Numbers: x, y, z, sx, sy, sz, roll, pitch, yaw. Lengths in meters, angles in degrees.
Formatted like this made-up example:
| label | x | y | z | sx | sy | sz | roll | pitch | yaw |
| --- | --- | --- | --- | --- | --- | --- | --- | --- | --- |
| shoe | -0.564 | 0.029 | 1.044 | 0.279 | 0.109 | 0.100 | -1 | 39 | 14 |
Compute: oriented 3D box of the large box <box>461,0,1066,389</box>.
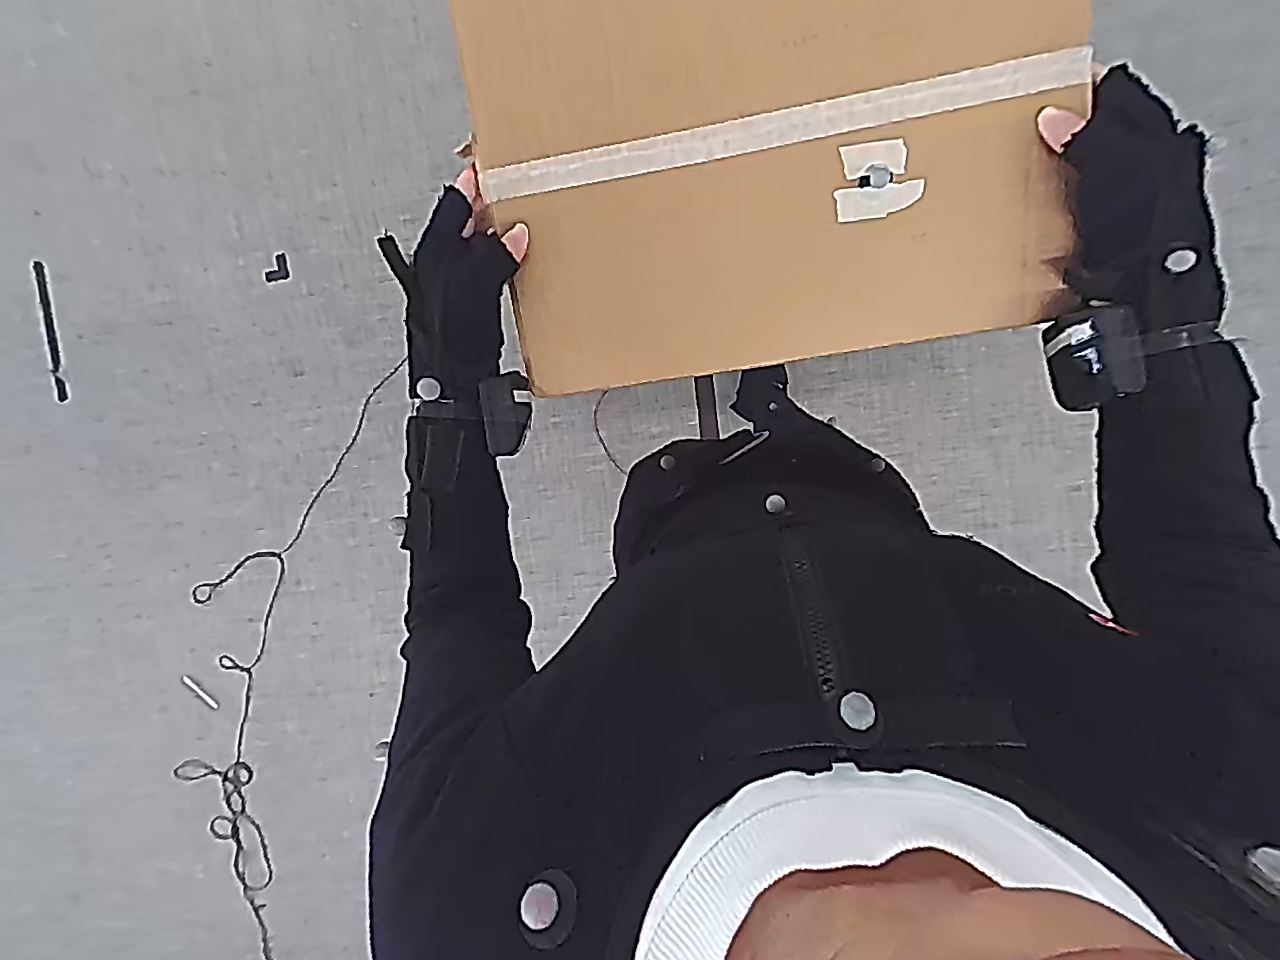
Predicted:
| label | x | y | z | sx | sy | sz | roll | pitch | yaw |
| --- | --- | --- | --- | --- | --- | --- | --- | --- | --- |
| large box | 0.099 | -0.286 | 0.530 | 0.408 | 0.320 | 0.320 | -8 | 105 | 6 |
